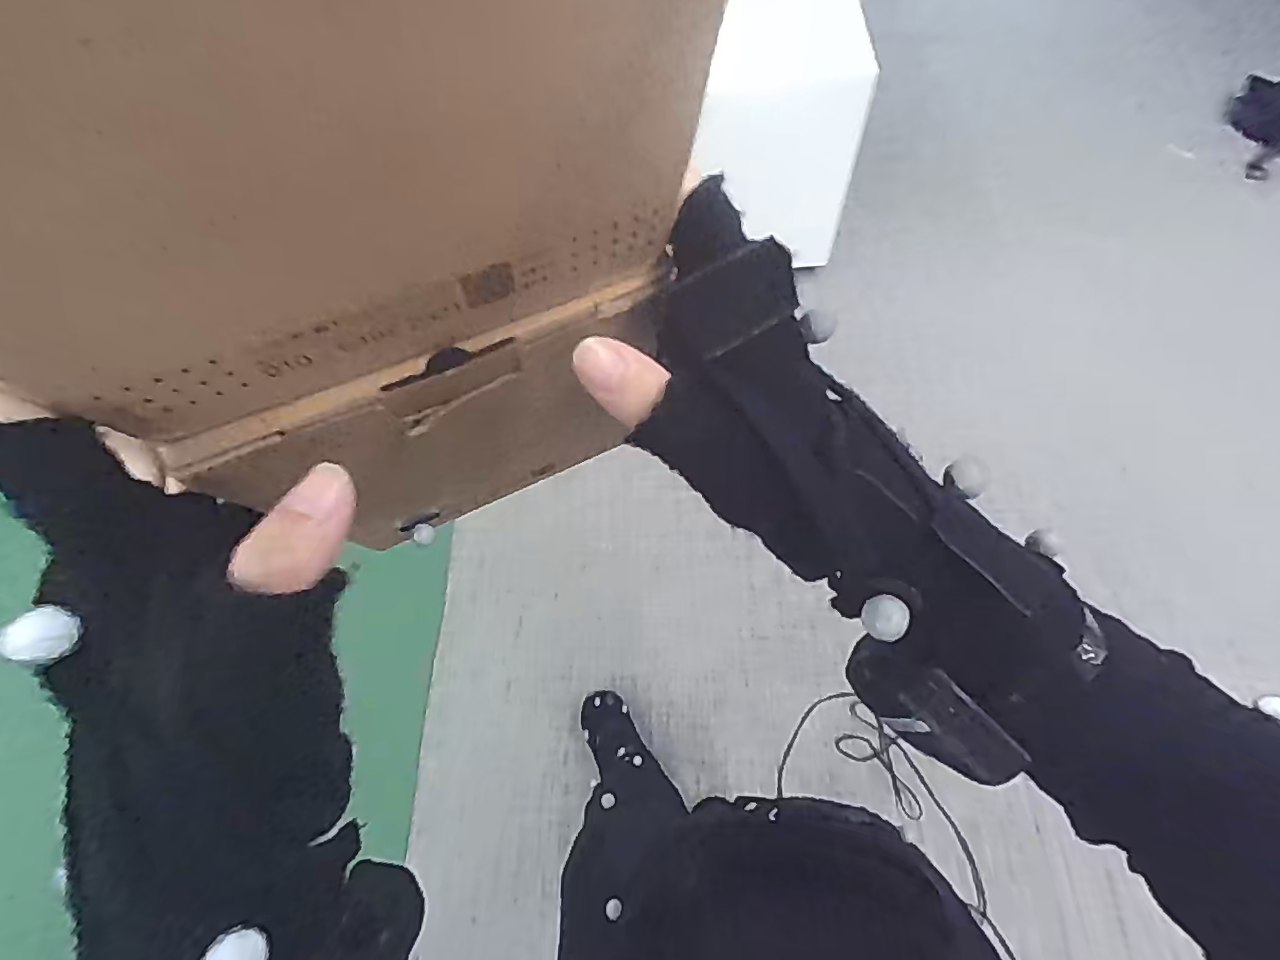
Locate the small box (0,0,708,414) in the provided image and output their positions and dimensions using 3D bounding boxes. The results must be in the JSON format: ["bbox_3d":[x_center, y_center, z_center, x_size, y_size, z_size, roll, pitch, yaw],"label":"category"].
[{"bbox_3d":[-0.093,-0.143,0.120,0.168,0.176,0.179,-23,78,-11],"label":"small box"}]

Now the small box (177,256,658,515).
[{"bbox_3d":[-0.106,-0.094,0.275,0.168,0.176,0.179,-24,78,-11],"label":"small box"}]
